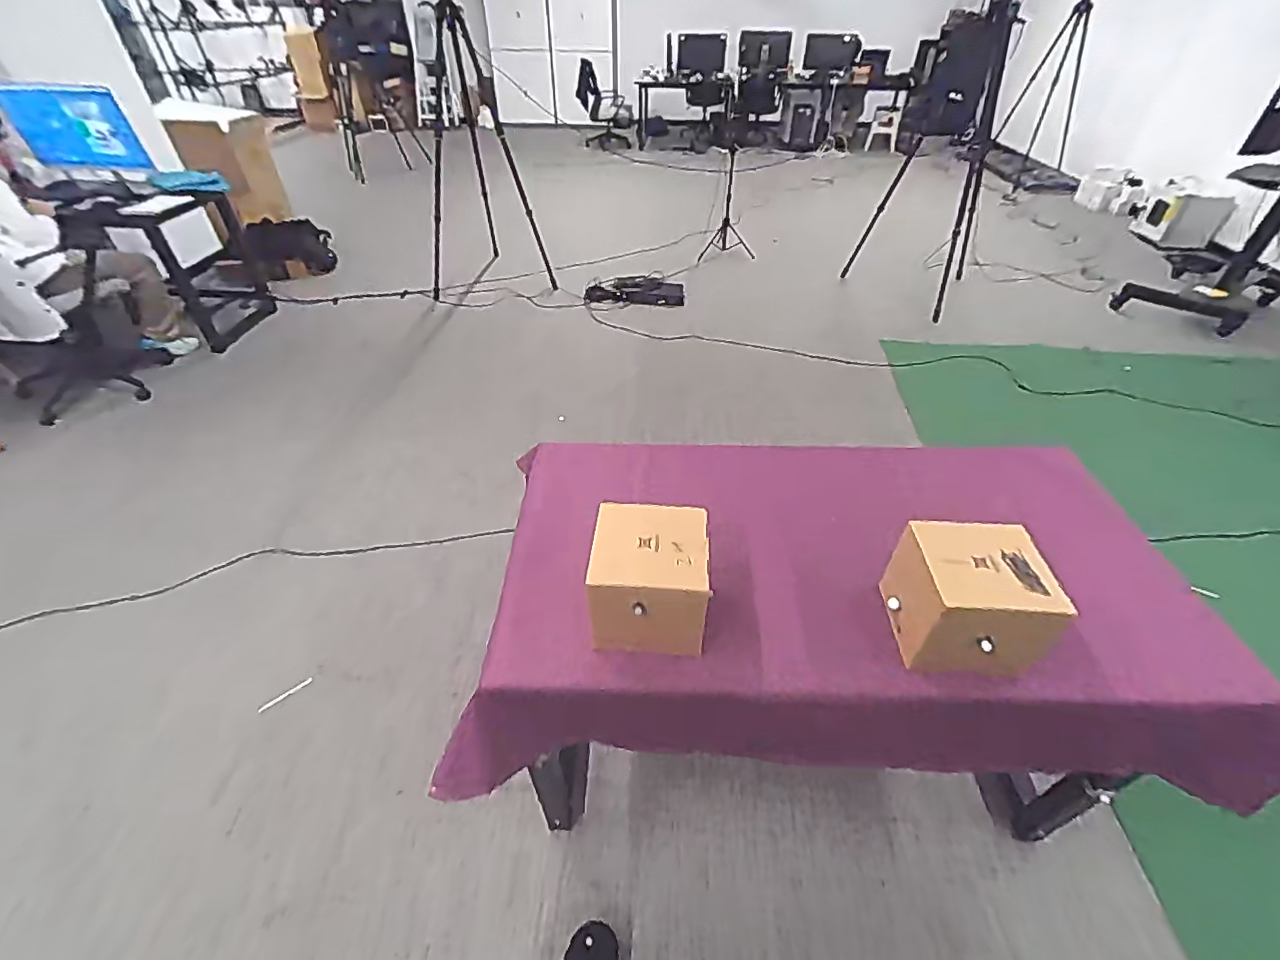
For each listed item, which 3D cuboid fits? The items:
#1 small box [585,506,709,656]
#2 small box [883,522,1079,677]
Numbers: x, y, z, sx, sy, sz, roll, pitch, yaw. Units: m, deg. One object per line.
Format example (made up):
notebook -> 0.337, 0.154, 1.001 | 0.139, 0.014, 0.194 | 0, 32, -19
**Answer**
small box -> 0.017, 0.161, 0.857 | 0.179, 0.176, 0.168 | 3, 42, 4
small box -> 0.502, 0.184, 0.828 | 0.179, 0.176, 0.168 | 2, 41, 4
